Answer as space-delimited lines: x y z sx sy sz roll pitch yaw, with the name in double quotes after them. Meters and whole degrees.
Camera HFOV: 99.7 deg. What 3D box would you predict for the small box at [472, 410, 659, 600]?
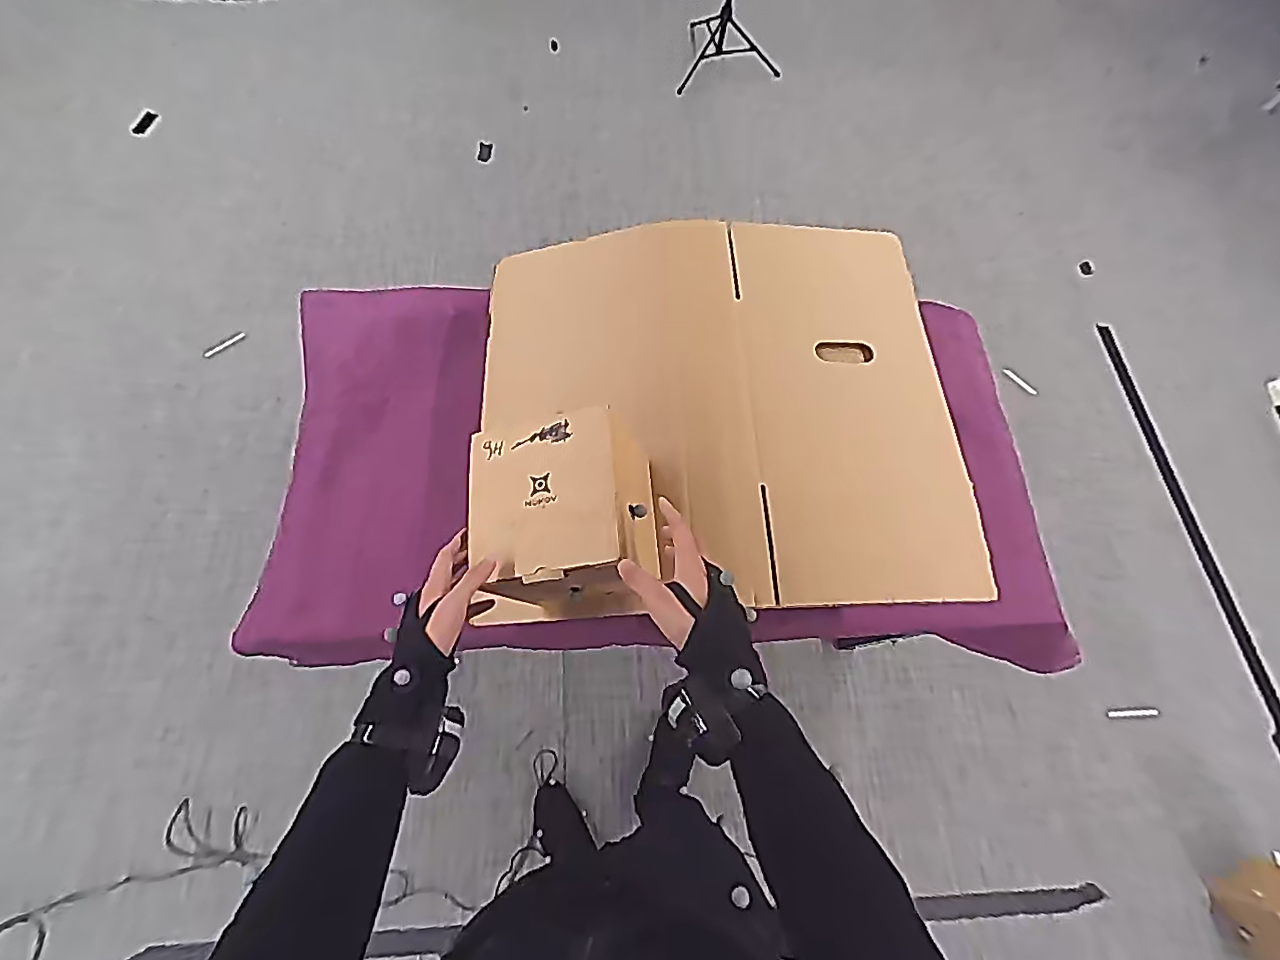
-0.079 0.043 0.640 0.168 0.176 0.179 -10 69 13 "small box"
